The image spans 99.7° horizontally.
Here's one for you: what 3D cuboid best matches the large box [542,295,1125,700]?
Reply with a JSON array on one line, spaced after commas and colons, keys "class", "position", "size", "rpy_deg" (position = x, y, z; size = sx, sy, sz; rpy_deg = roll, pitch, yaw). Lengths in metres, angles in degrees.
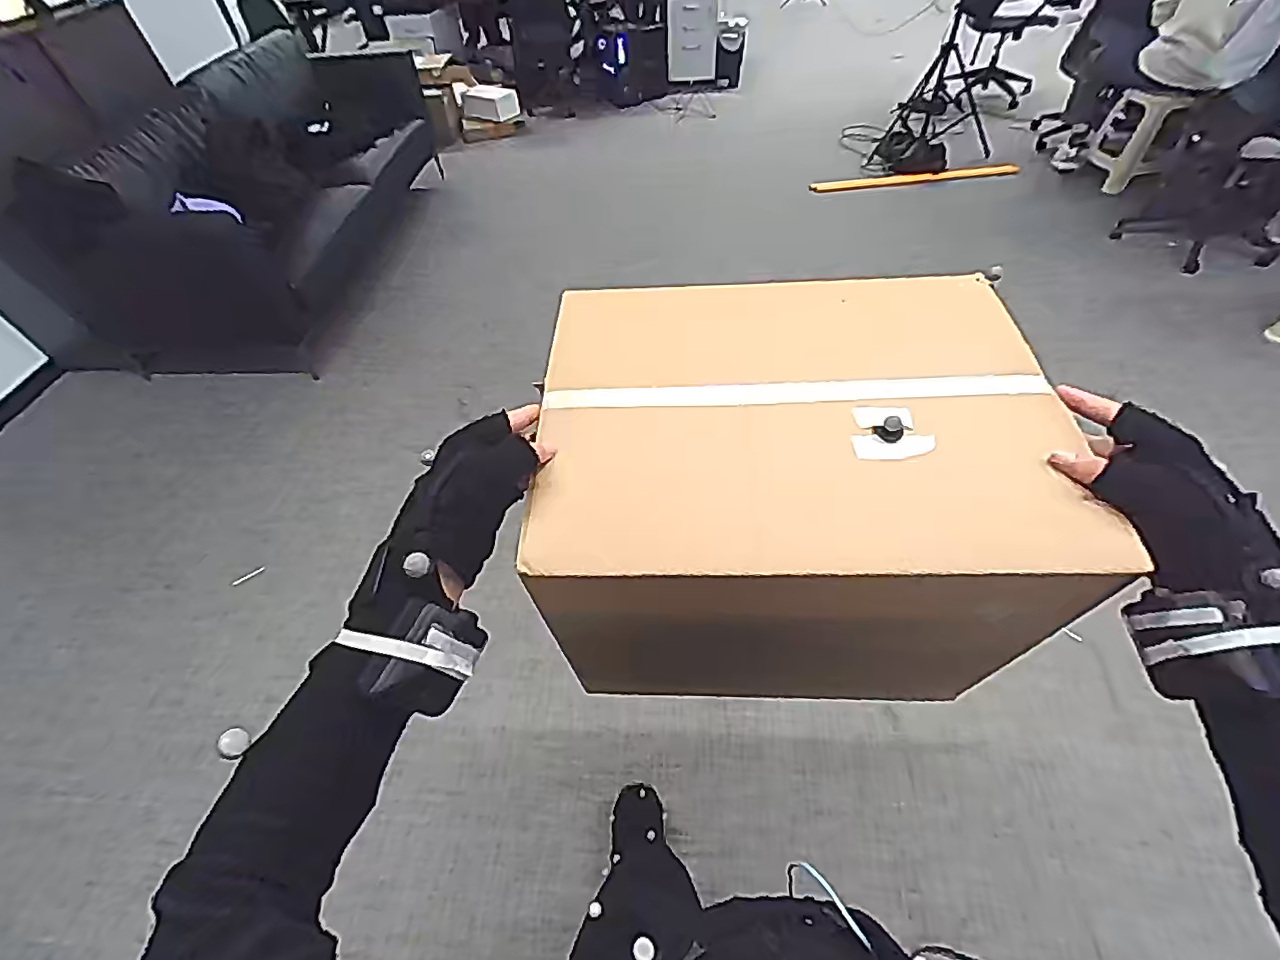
[{"class": "large box", "position": [0.135, 0.032, 0.574], "size": [0.408, 0.320, 0.320], "rpy_deg": [-1, 54, 3]}]
